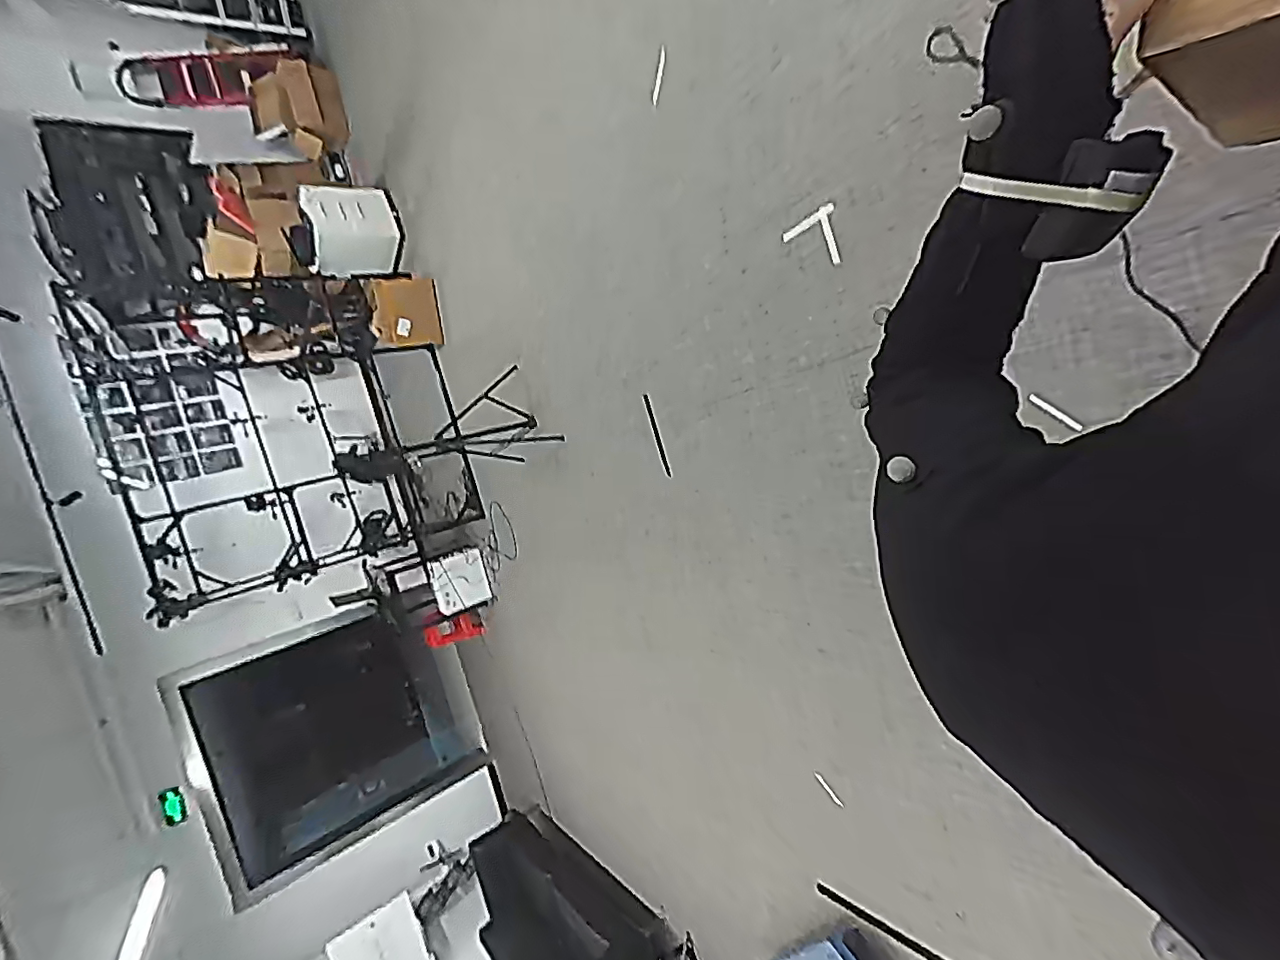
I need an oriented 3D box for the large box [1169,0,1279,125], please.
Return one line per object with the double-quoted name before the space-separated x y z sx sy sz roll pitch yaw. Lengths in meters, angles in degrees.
"large box" 0.436 -0.405 0.169 0.320 0.320 0.408 16 116 51
